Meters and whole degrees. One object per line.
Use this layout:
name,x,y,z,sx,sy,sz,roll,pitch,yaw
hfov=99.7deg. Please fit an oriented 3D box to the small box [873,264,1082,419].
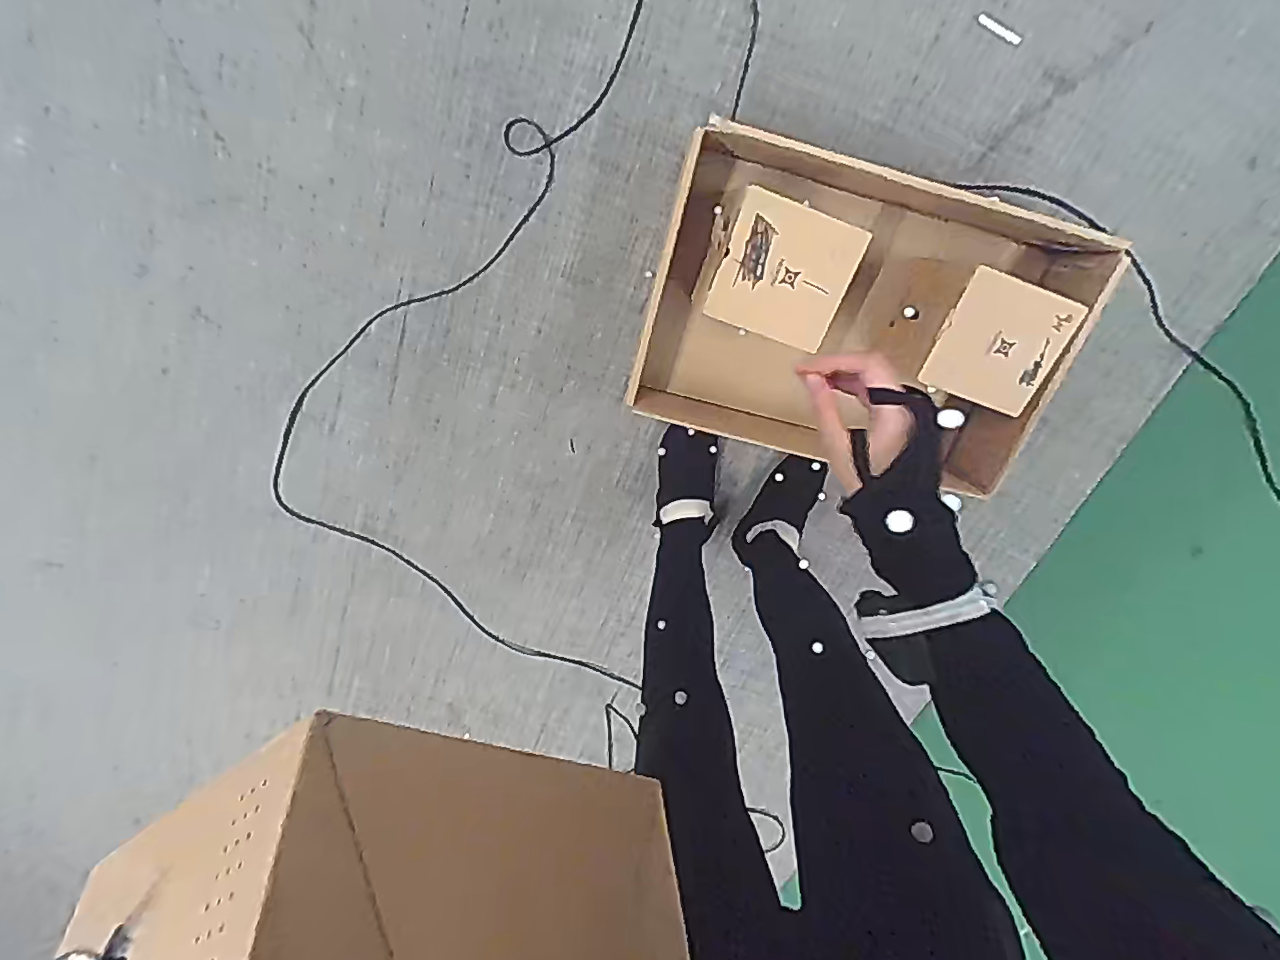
small box,0.491,-0.217,0.823,0.179,0.176,0.168,19,113,-8
